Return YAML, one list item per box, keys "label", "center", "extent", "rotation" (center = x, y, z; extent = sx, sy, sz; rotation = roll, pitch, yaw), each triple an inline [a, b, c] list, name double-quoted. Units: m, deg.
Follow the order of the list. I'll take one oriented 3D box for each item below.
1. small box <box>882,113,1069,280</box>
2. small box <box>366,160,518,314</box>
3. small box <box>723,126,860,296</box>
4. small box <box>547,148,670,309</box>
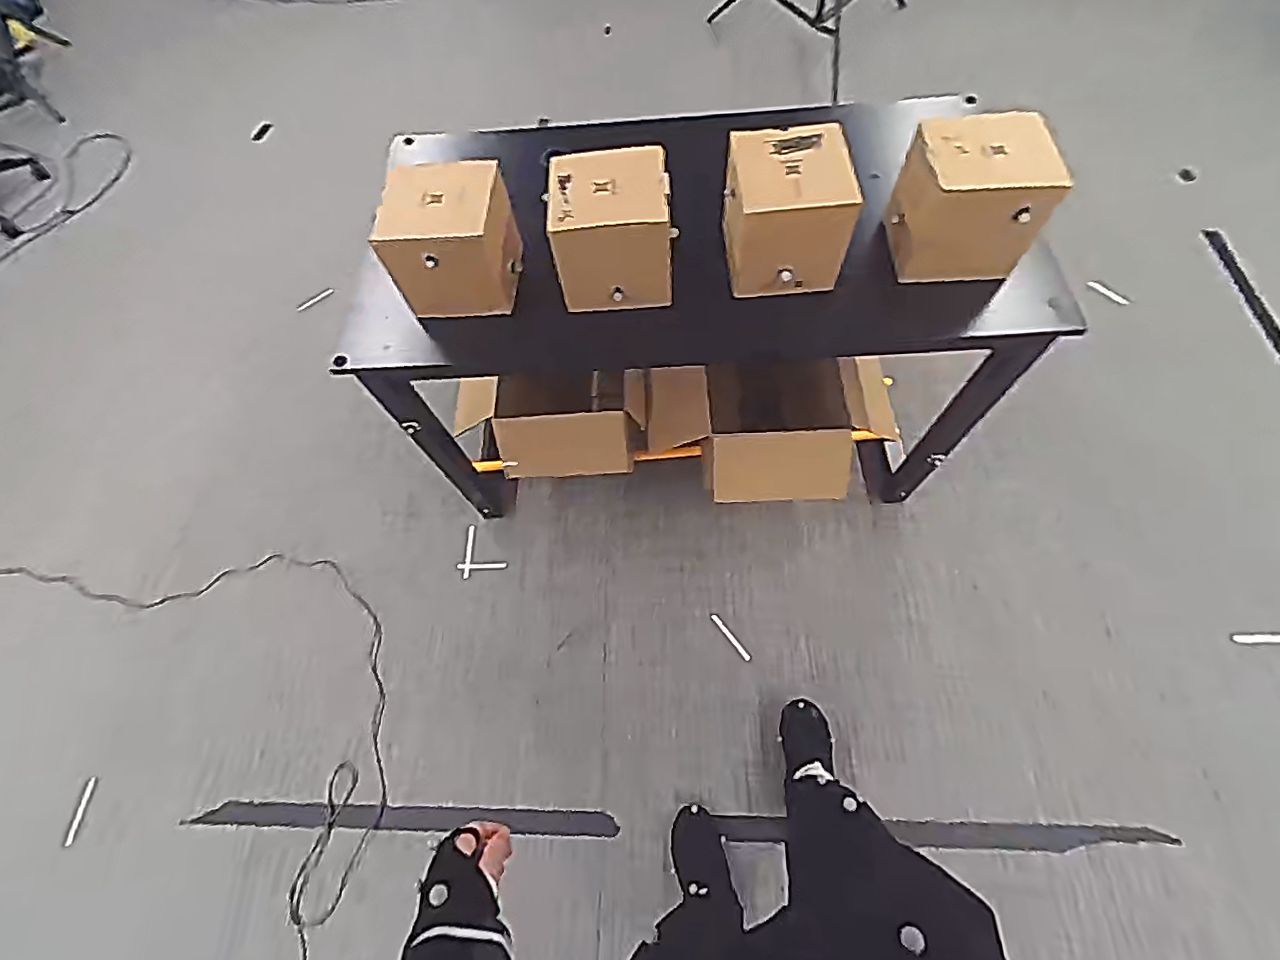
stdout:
- label: "small box"
  center: [0.505, -0.435, 0.844]
  extent: [0.179, 0.176, 0.168]
  rotation: [-1, 64, 4]
- label: "small box"
  center: [-0.310, -0.389, 0.885]
  extent: [0.179, 0.176, 0.168]
  rotation: [-2, 66, 0]
- label: "small box"
  center: [0.226, -0.422, 0.860]
  extent: [0.168, 0.176, 0.179]
  rotation: [-4, 65, 2]
- label: "small box"
  center: [-0.045, -0.395, 0.867]
  extent: [0.179, 0.176, 0.168]
  rotation: [-3, 64, 2]
